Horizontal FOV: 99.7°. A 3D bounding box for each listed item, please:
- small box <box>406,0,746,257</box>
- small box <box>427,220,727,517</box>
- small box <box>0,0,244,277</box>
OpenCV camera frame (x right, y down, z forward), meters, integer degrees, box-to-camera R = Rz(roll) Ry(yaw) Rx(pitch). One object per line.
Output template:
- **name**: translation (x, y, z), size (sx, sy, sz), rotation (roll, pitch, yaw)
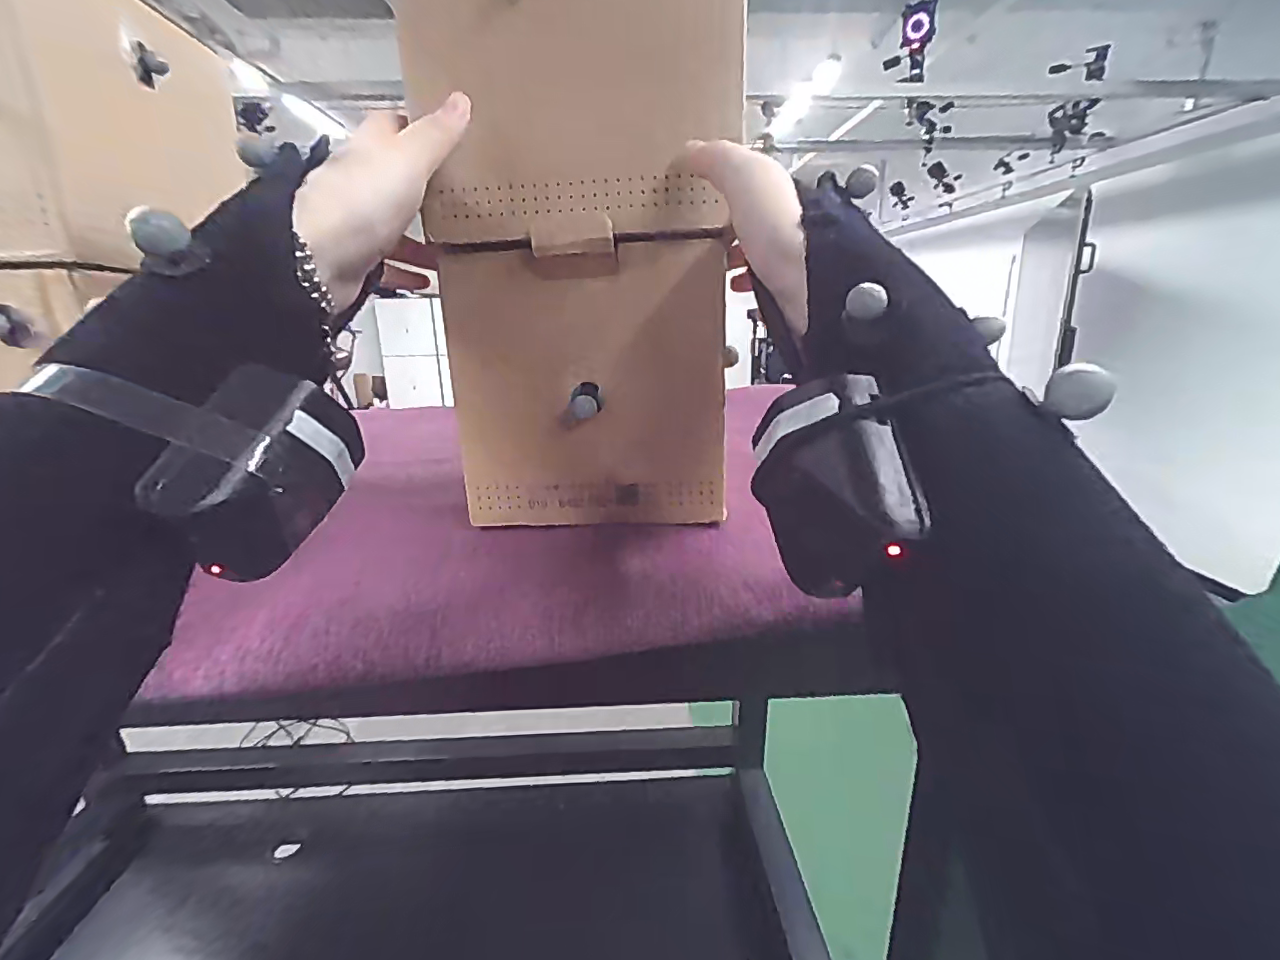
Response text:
- **small box**: translation (-0.030, -0.232, 0.338), size (0.179, 0.176, 0.168), rotation (-1, 15, 4)
- **small box**: translation (-0.025, -0.075, 0.390), size (0.168, 0.176, 0.179), rotation (-1, 15, 5)
- **small box**: translation (-0.384, -0.213, 0.330), size (0.168, 0.176, 0.179), rotation (-1, 15, -5)
